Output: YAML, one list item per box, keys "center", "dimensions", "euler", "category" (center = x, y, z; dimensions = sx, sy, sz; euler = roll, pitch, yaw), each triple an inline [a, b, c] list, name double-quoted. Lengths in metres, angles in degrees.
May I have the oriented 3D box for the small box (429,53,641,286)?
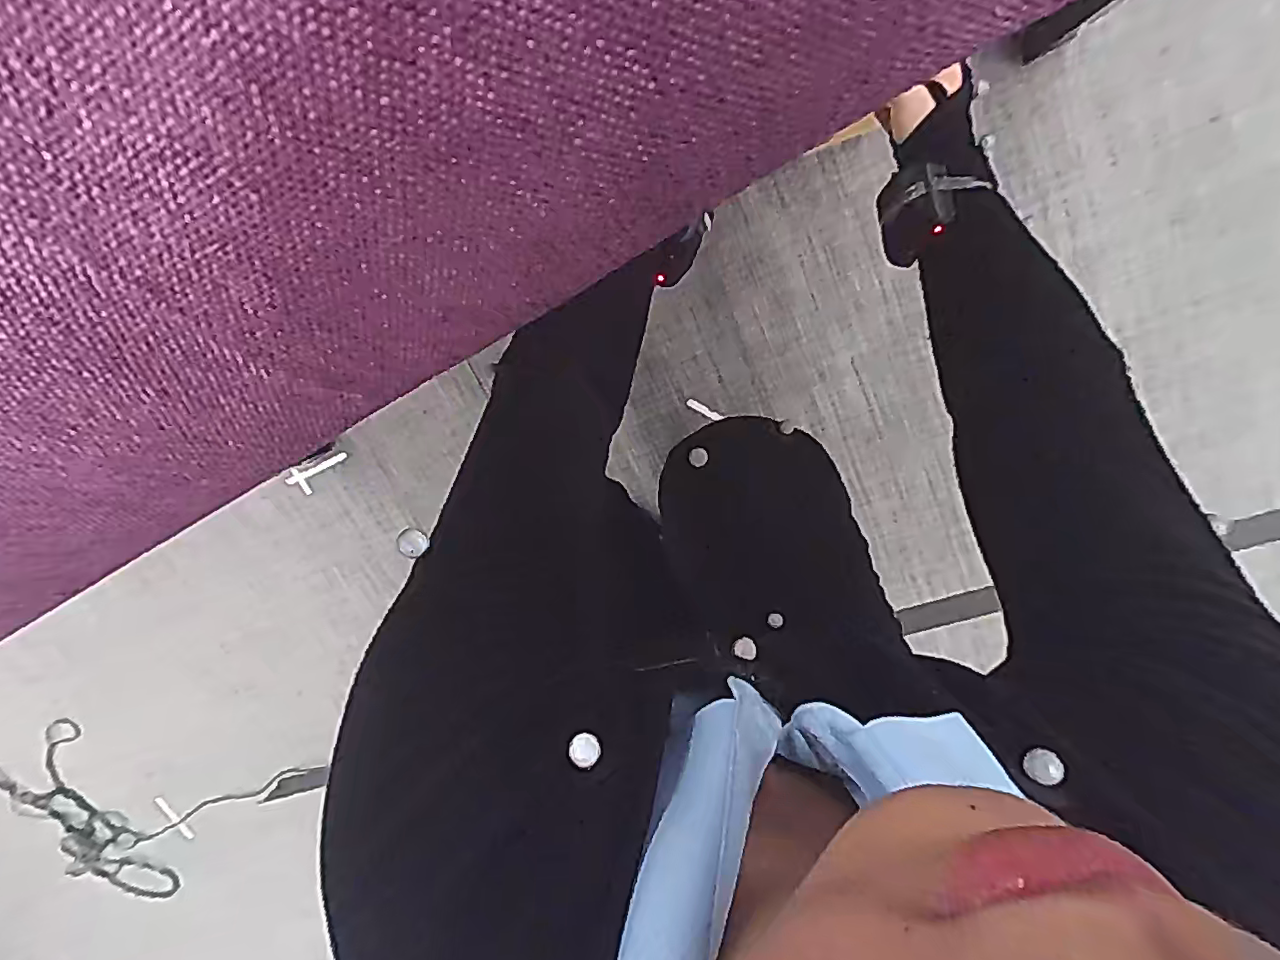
- center: [-0.110, -0.354, 0.656]
  dimensions: [0.168, 0.176, 0.179]
  euler: [-21, 105, 14]
  category: "small box"

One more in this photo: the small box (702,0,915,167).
- center: [0.165, -0.453, 0.565]
  dimensions: [0.168, 0.176, 0.179]
  euler: [-15, 104, 15]
  category: "small box"
